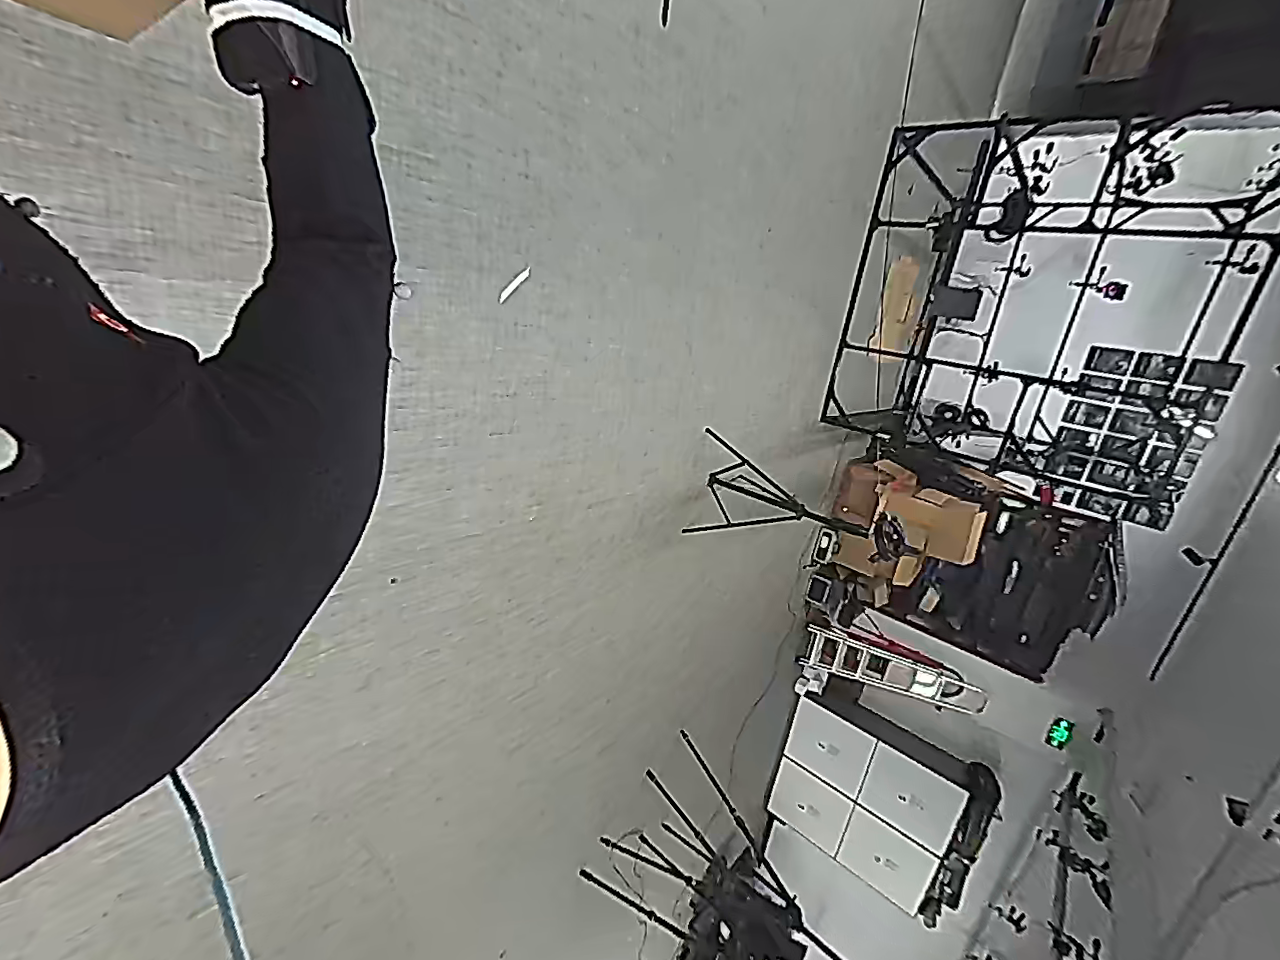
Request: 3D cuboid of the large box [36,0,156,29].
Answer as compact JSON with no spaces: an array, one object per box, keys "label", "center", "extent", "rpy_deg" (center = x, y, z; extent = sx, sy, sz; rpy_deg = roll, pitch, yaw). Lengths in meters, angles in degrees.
[{"label":"large box","center":[-0.479,-0.504,0.239],"extent":[0.408,0.320,0.320],"rpy_deg":[-10,116,-52]}]
